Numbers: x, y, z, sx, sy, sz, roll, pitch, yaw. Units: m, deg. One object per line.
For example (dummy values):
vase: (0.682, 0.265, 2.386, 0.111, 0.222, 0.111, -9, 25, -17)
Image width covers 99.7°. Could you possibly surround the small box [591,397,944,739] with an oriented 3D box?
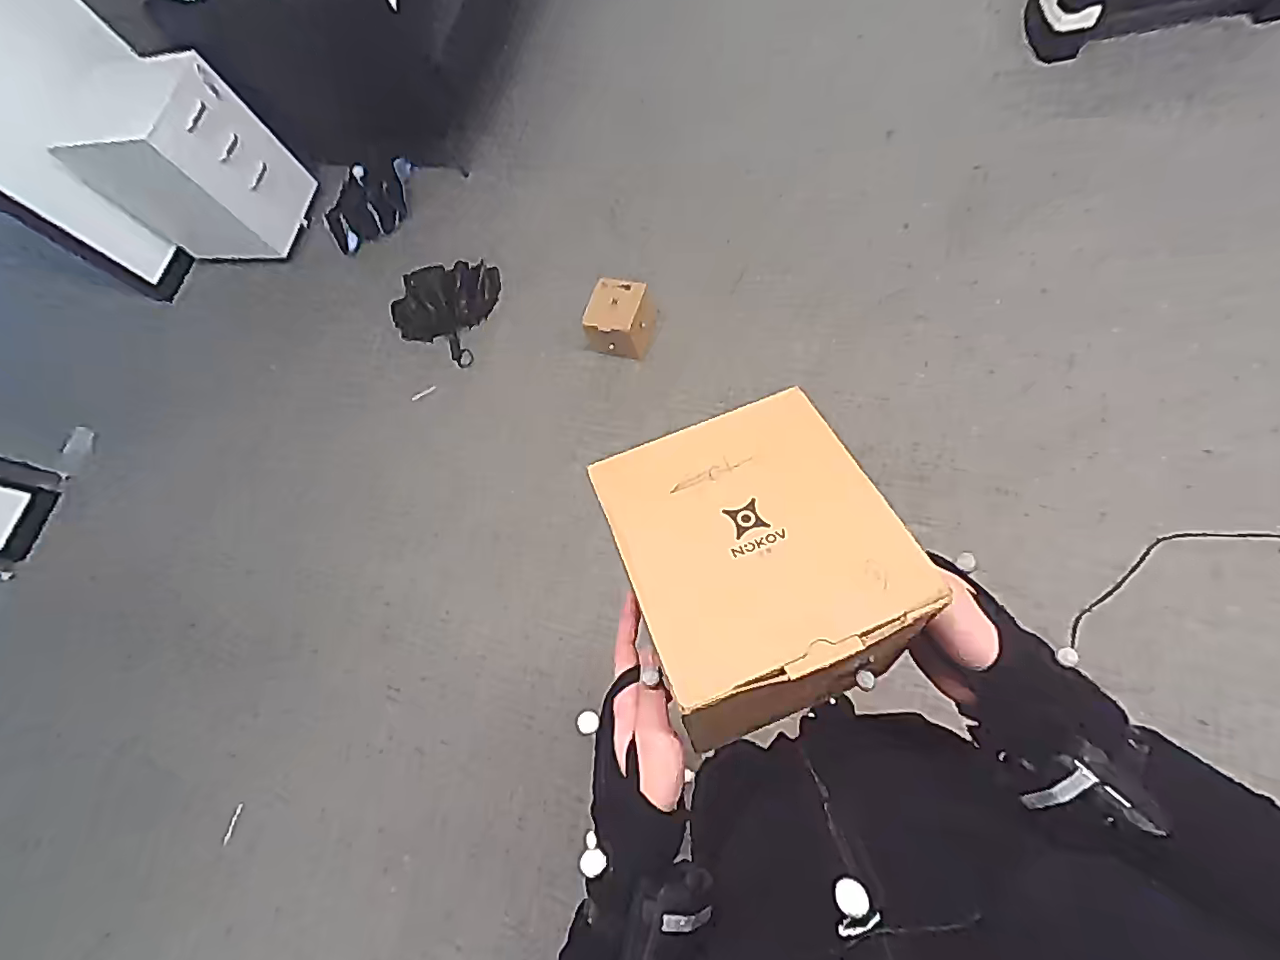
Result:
small box: (0.079, 0.076, 0.407, 0.168, 0.176, 0.179, -21, 55, -6)
